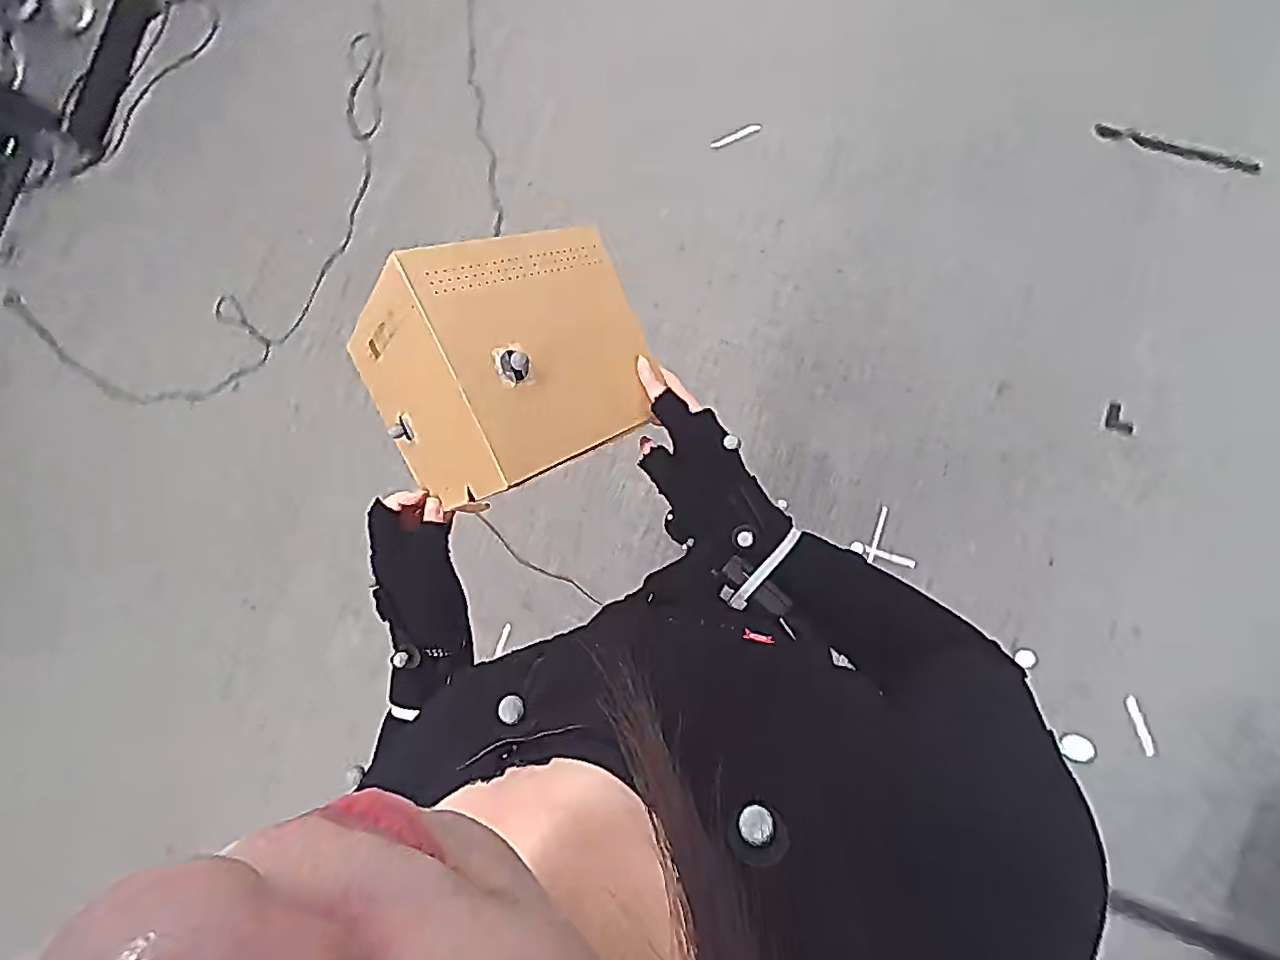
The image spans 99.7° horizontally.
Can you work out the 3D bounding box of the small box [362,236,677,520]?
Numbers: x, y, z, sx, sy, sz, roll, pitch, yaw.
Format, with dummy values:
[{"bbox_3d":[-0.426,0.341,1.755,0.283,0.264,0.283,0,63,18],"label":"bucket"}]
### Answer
[{"bbox_3d":[-0.106,-0.084,0.464,0.179,0.168,0.176,-30,101,-38],"label":"small box"}]
